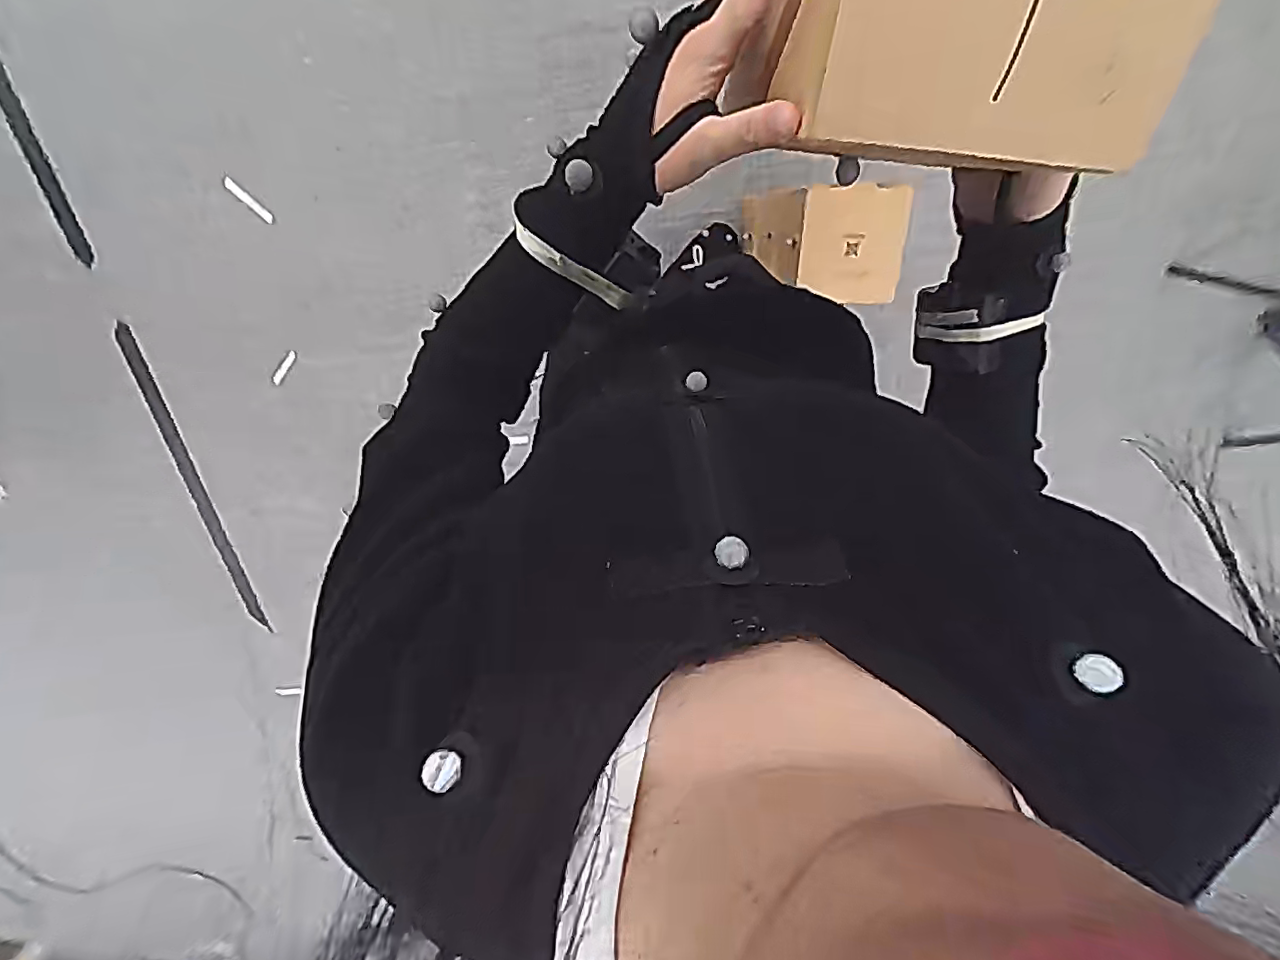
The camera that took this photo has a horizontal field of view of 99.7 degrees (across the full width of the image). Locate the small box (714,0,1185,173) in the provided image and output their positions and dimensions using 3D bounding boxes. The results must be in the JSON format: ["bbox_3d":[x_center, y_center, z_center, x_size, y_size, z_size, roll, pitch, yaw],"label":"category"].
[{"bbox_3d":[0.144,-0.266,0.278,0.168,0.176,0.179,0,121,-8],"label":"small box"}]

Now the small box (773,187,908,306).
[{"bbox_3d":[0.337,-0.407,0.946,0.168,0.176,0.179,1,115,1],"label":"small box"}]

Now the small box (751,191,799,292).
[{"bbox_3d":[0.329,-0.476,1.093,0.168,0.176,0.179,3,115,-1],"label":"small box"}]

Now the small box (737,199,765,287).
[{"bbox_3d":[0.320,-0.545,1.242,0.168,0.176,0.179,0,115,0],"label":"small box"}]
